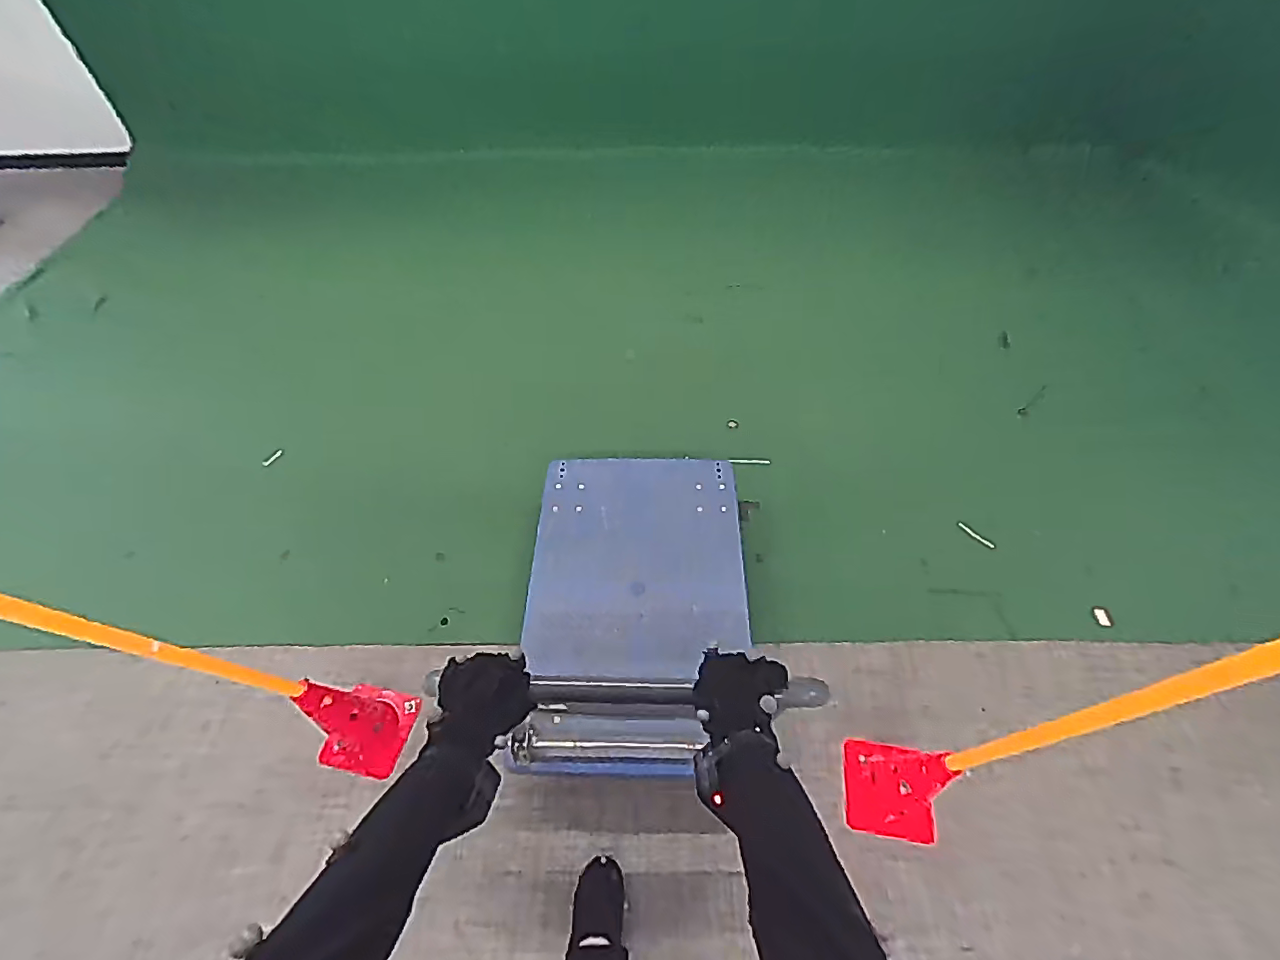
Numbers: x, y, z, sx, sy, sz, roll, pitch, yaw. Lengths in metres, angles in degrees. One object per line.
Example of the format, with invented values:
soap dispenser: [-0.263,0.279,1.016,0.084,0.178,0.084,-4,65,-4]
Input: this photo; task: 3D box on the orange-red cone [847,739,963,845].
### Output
orange-red cone: [0.589,0.632,1.146,0.198,0.360,0.199,8,54,8]
